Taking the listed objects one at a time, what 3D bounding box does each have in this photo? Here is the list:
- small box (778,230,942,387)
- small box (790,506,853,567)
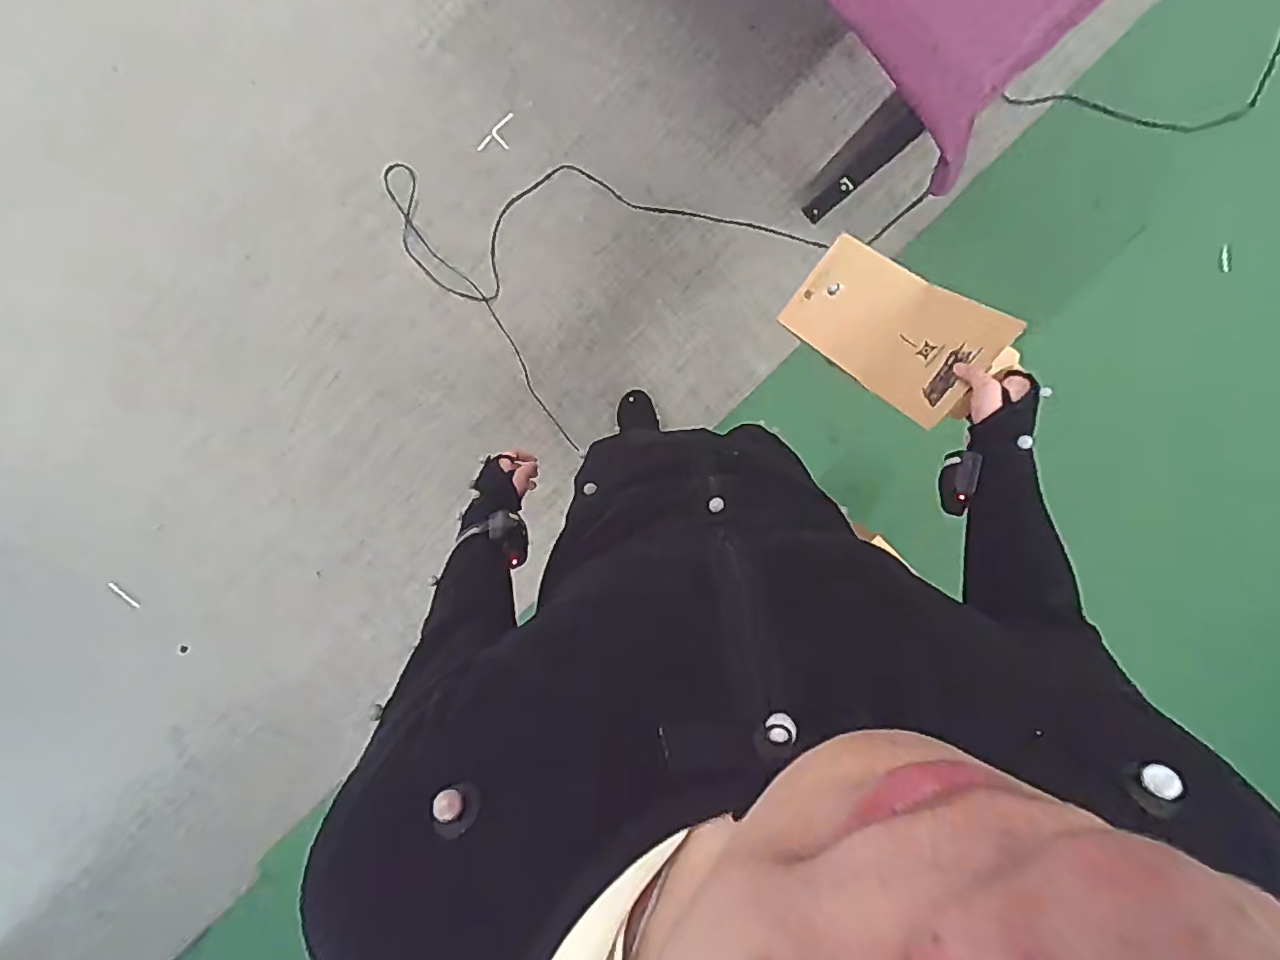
[{"bbox_3d":[0.363,-0.281,0.896,0.176,0.179,0.168,47,113,26],"label":"small box"},{"bbox_3d":[0.577,0.195,1.603,0.179,0.176,0.168,43,96,-10],"label":"small box"}]
